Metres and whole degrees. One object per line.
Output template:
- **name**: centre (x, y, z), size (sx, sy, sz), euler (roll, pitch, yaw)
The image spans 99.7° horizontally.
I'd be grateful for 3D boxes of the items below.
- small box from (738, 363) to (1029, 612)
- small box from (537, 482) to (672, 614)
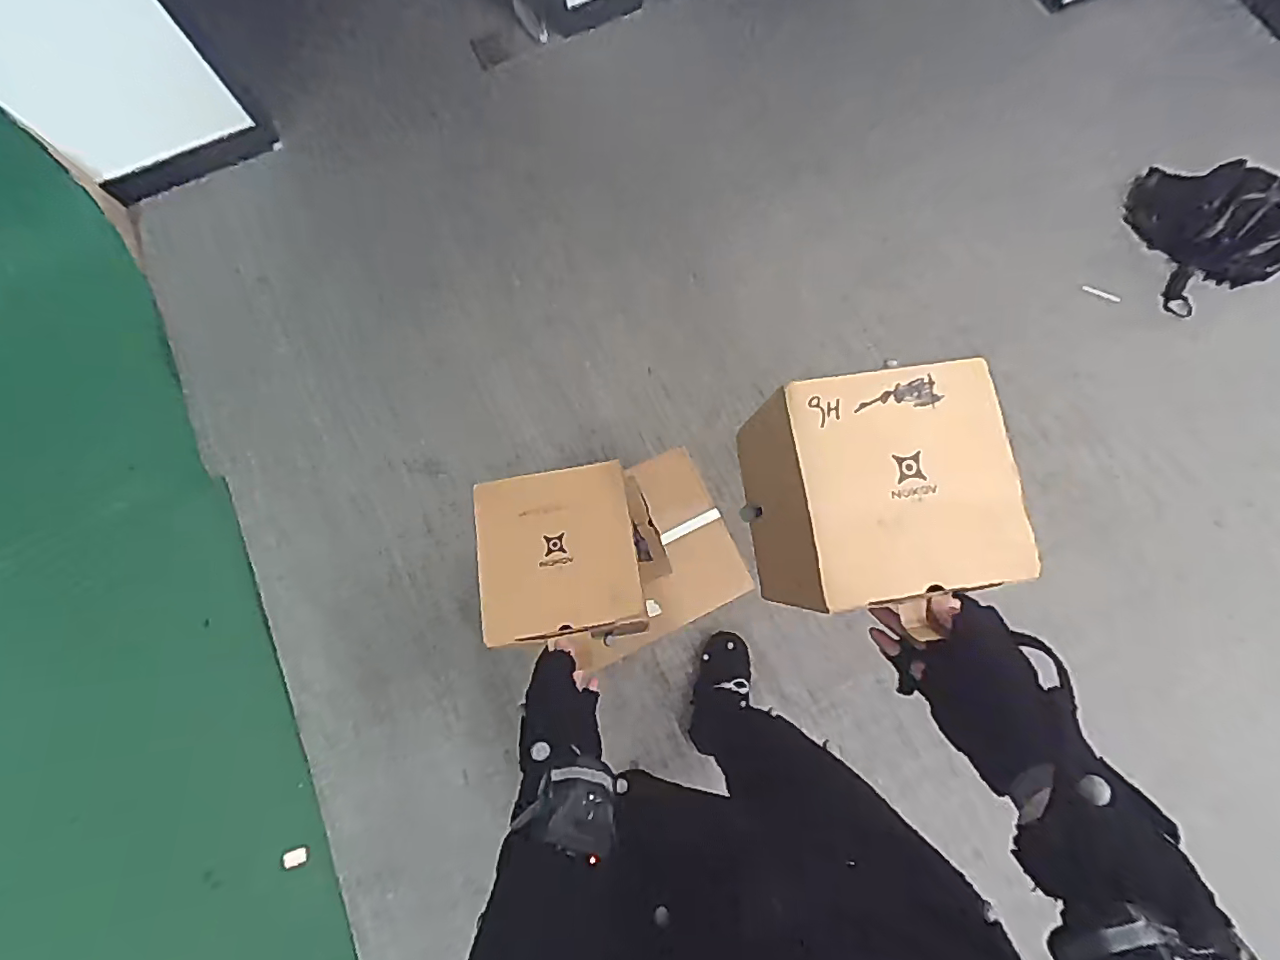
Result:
- **small box**: centre (0.198, 0.013, 0.493), size (0.168, 0.176, 0.179), euler (-8, 82, -4)
- **small box**: centre (-0.059, 0.116, 0.917), size (0.179, 0.176, 0.168), euler (-18, 80, -5)
